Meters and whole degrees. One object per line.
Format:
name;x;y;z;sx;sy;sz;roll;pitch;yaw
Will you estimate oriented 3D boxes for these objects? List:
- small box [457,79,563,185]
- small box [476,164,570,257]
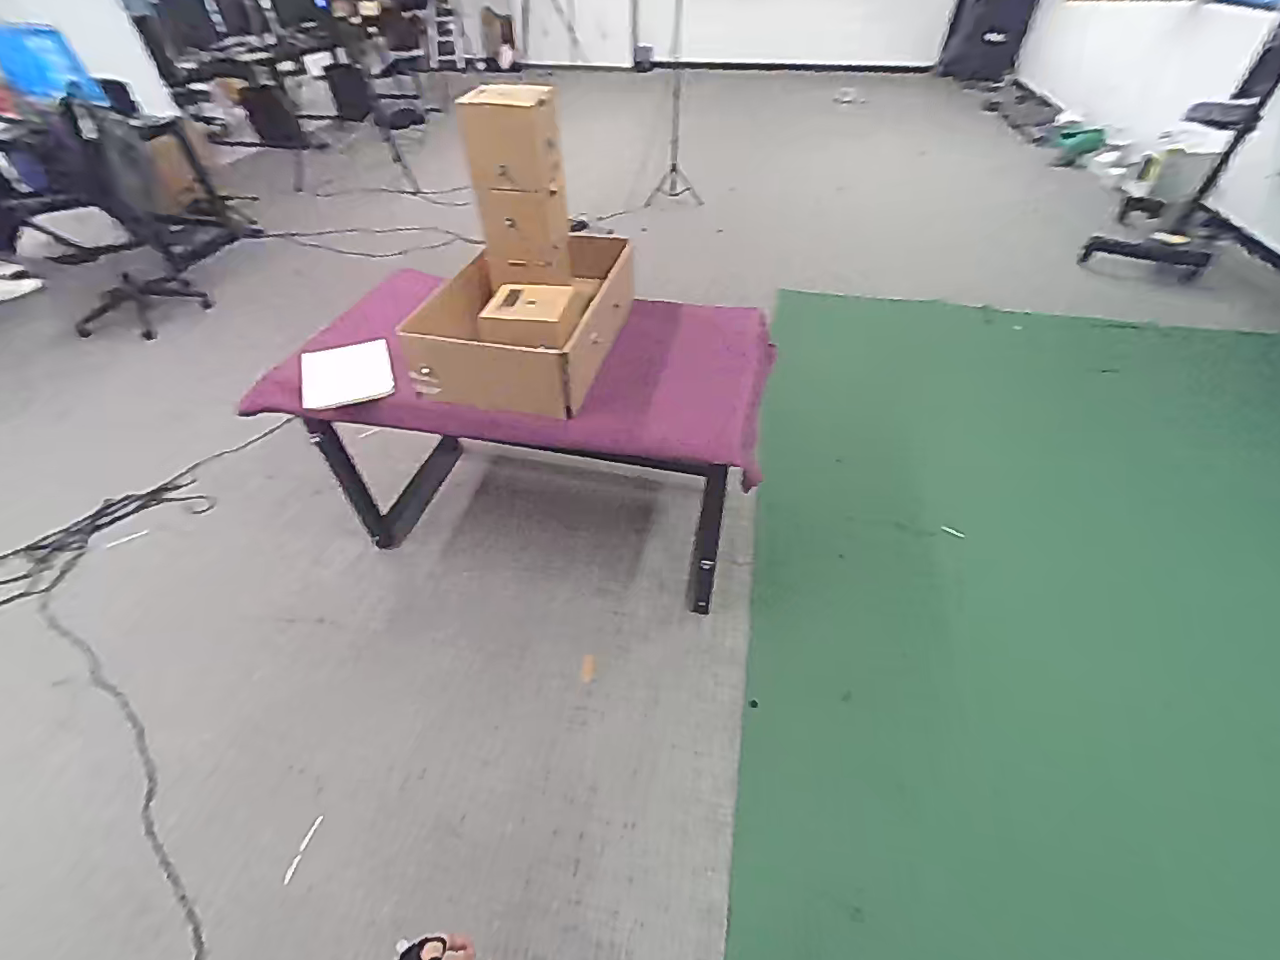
small box;-0.285;-0.793;1.237;0.179;0.176;0.168;10;47;9
small box;-0.282;-0.677;1.353;0.179;0.176;0.168;7;47;8
